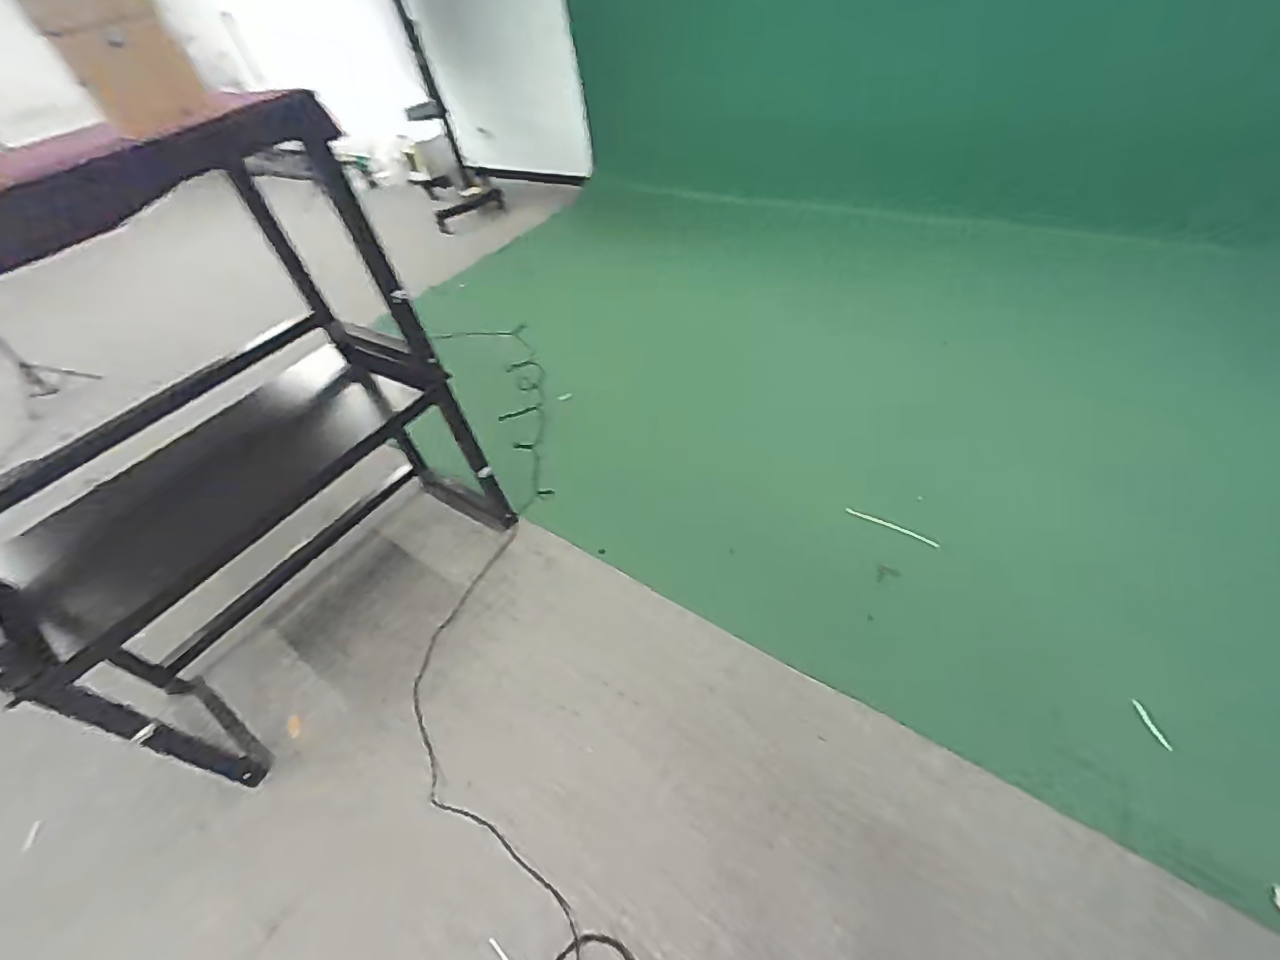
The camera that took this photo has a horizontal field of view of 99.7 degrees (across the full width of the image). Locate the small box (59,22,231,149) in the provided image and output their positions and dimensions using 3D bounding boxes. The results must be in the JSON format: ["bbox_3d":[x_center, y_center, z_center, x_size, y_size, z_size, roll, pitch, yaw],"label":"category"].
[{"bbox_3d":[-0.970,-0.774,1.070,0.179,0.176,0.168,26,58,32],"label":"small box"}]
